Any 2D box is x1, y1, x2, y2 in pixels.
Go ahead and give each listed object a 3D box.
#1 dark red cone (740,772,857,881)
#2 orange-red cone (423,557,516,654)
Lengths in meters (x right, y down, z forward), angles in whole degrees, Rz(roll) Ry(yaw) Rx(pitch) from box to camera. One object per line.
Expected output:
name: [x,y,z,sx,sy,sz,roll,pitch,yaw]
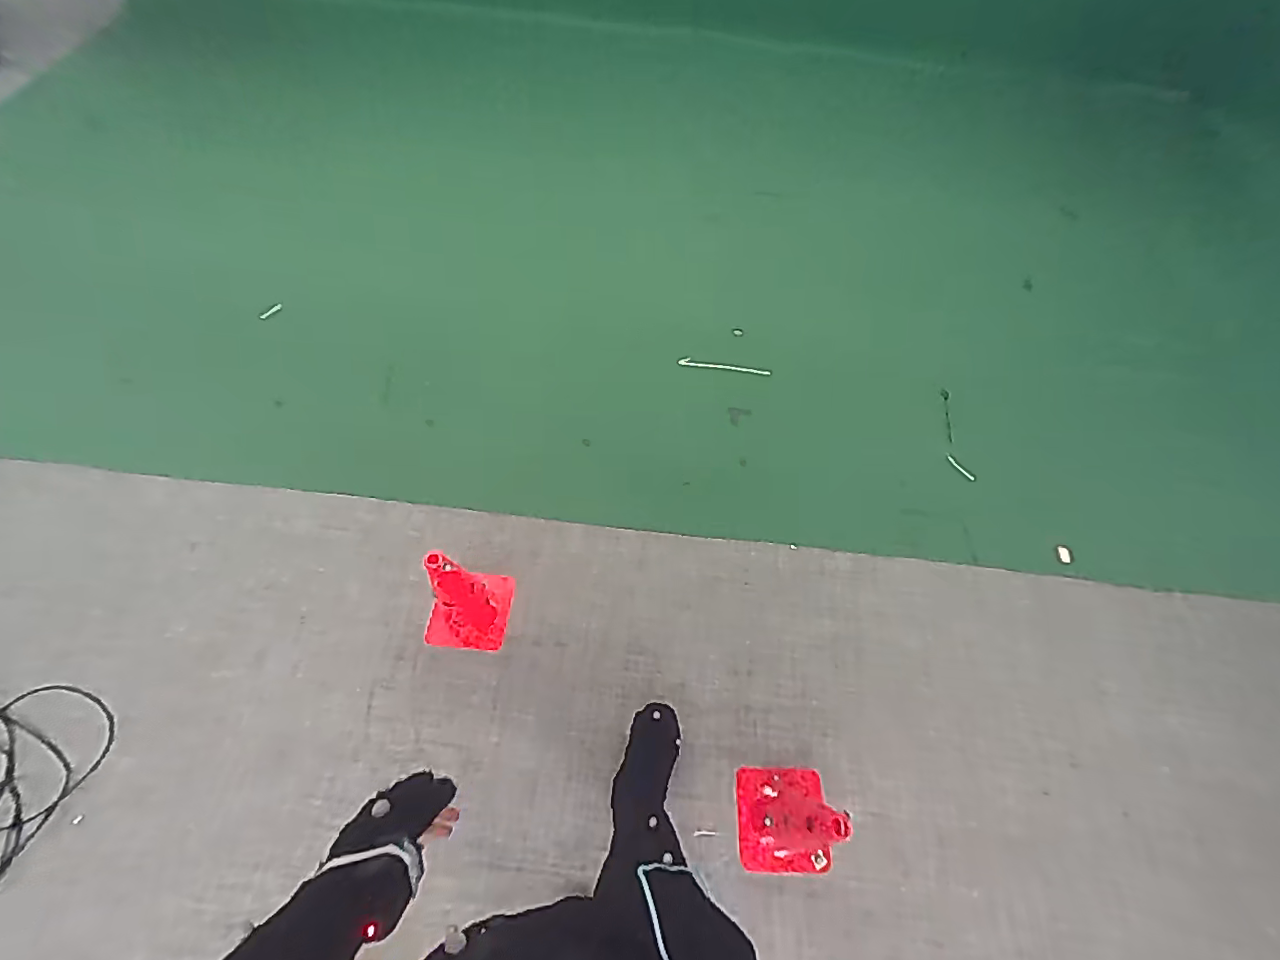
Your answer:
dark red cone: [0.330,0.668,1.045,0.202,0.394,0.201,1,58,-2]
orange-red cone: [-0.434,0.265,1.270,0.198,0.360,0.199,6,61,2]
